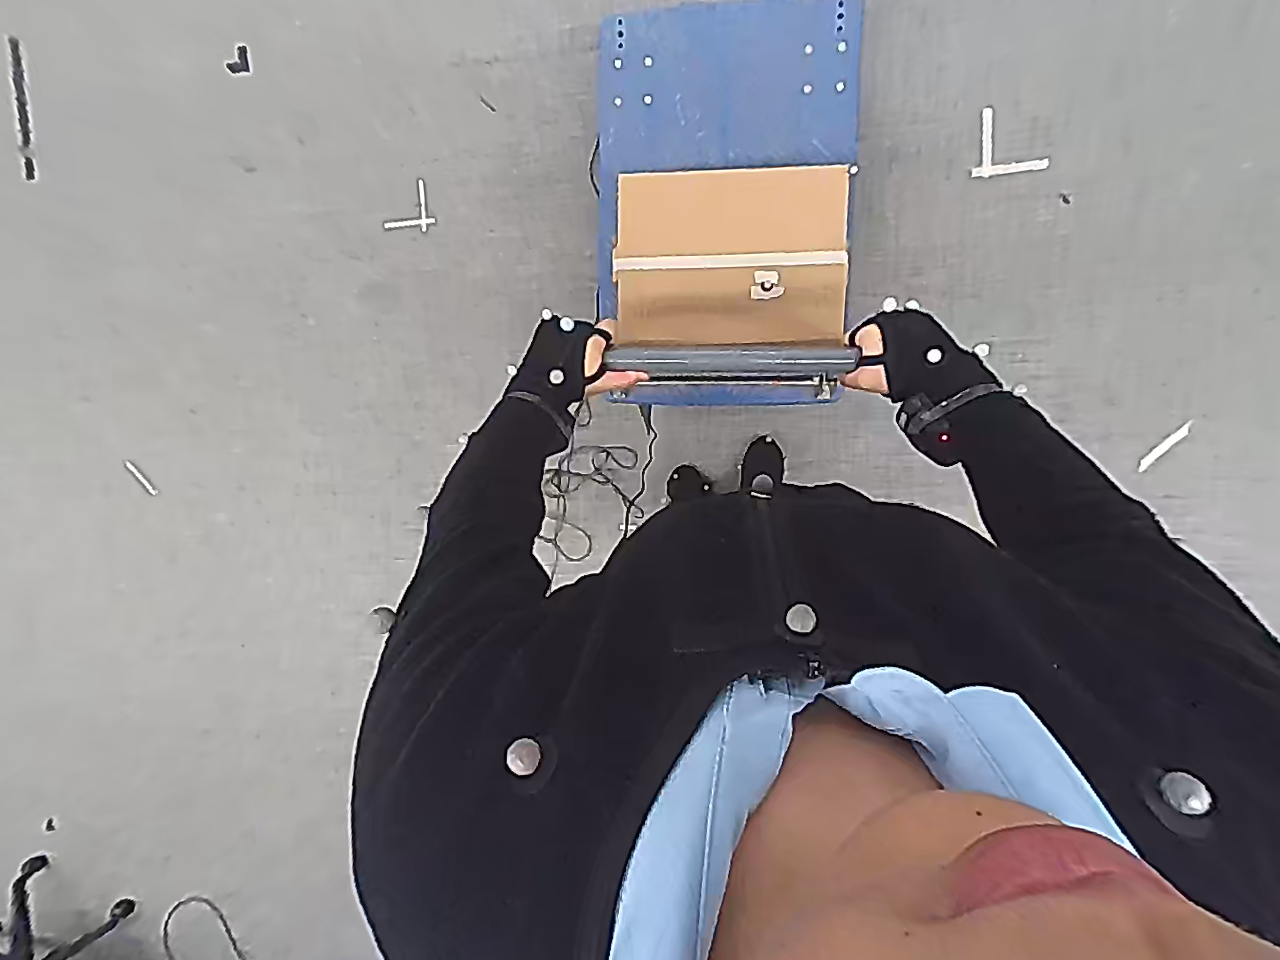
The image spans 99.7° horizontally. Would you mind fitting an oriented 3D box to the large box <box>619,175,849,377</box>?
[{"bbox_3d":[0.174,-0.384,1.104,0.408,0.320,0.320,1,97,5],"label":"large box"}]
